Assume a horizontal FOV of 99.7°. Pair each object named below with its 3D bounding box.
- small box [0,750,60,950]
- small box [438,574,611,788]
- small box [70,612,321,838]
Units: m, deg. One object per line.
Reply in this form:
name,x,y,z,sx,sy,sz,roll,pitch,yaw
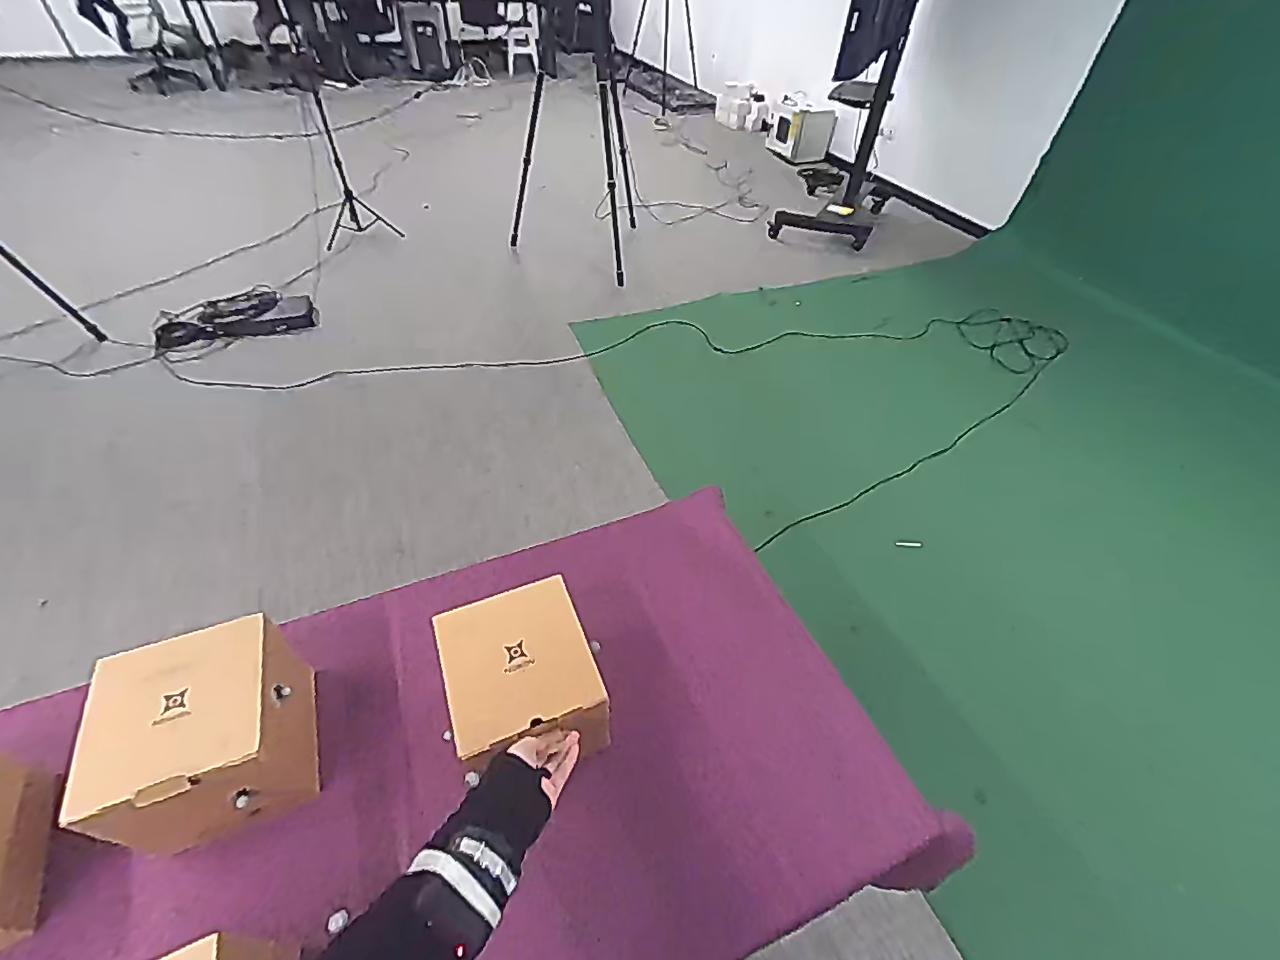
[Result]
small box,-0.739,0.387,0.533,0.168,0.176,0.179,-21,52,-21
small box,-0.144,0.255,0.689,0.168,0.176,0.179,-16,52,-17
small box,-0.494,0.292,0.637,0.168,0.176,0.179,-15,50,-18
